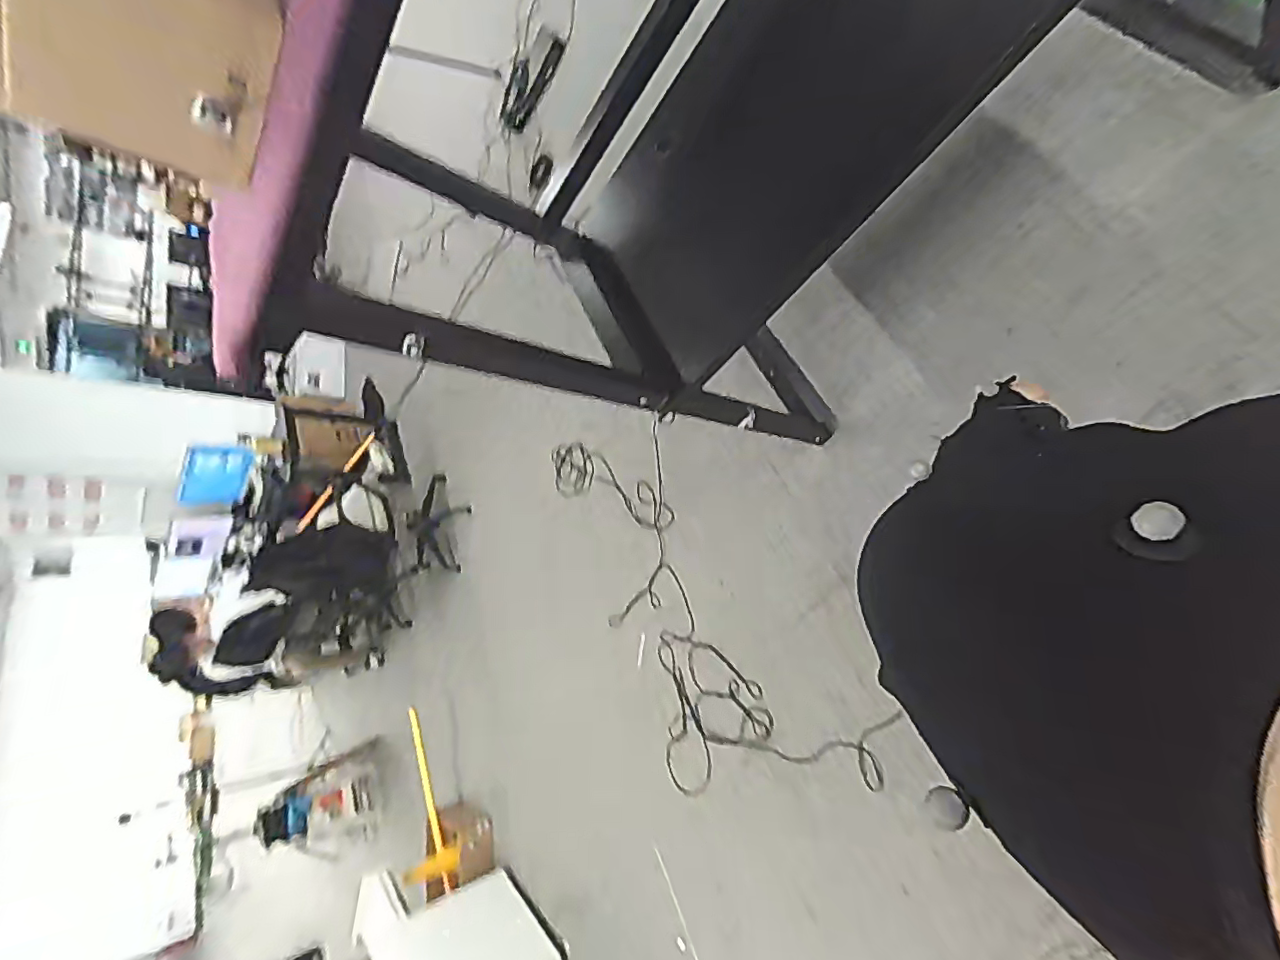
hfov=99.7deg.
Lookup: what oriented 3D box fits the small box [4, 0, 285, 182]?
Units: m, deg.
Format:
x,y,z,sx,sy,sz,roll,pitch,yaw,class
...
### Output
x,y,z,sx,sy,sz,roll,pitch,yaw,class
-0.450,-0.417,0.501,0.168,0.176,0.179,-49,56,32,small box
